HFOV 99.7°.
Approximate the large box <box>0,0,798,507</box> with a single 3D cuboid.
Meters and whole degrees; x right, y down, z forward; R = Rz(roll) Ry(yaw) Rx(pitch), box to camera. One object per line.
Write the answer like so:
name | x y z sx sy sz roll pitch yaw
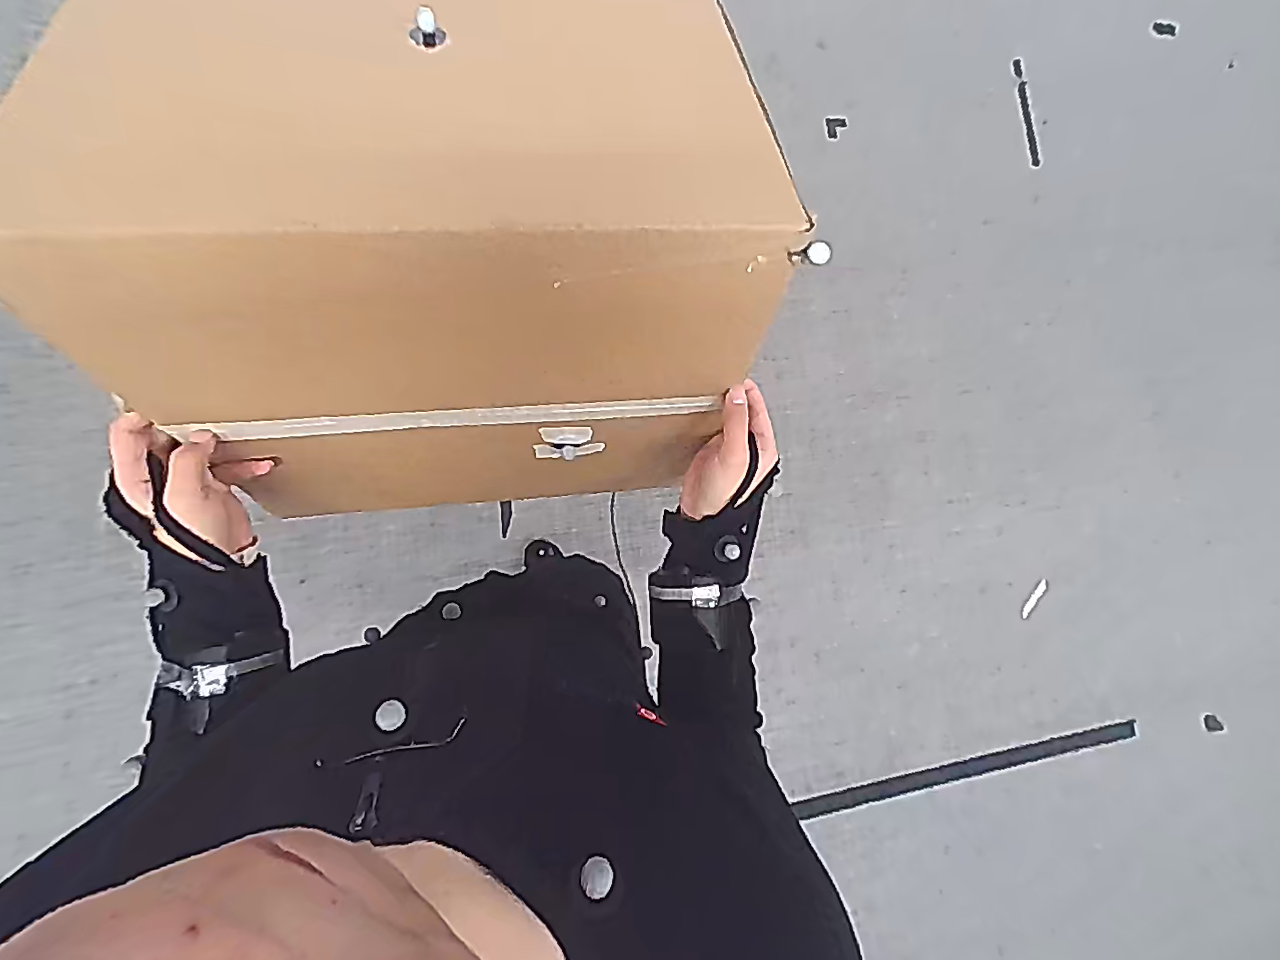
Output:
large box | -0.143 -0.195 0.471 0.408 0.320 0.320 -5 65 -9
